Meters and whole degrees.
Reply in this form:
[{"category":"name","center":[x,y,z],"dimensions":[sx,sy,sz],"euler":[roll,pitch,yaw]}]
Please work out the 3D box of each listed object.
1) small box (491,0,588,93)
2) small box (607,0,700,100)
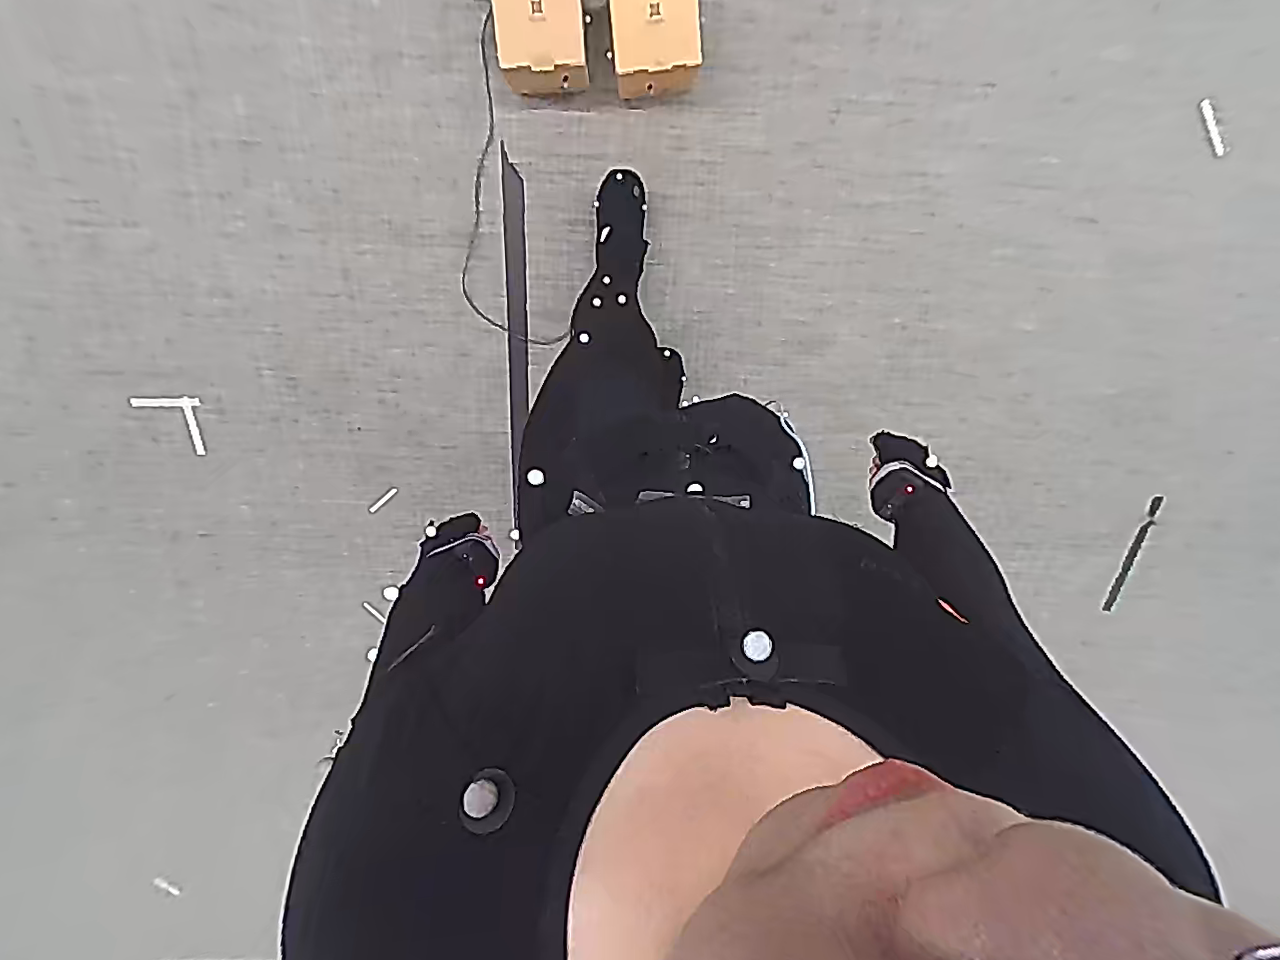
[{"category":"small box","center":[-0.194,-0.891,1.074],"dimensions":[0.168,0.176,0.179],"euler":[-3,111,-1]},{"category":"small box","center":[0.024,-0.893,1.080],"dimensions":[0.168,0.176,0.179],"euler":[-7,112,1]}]
